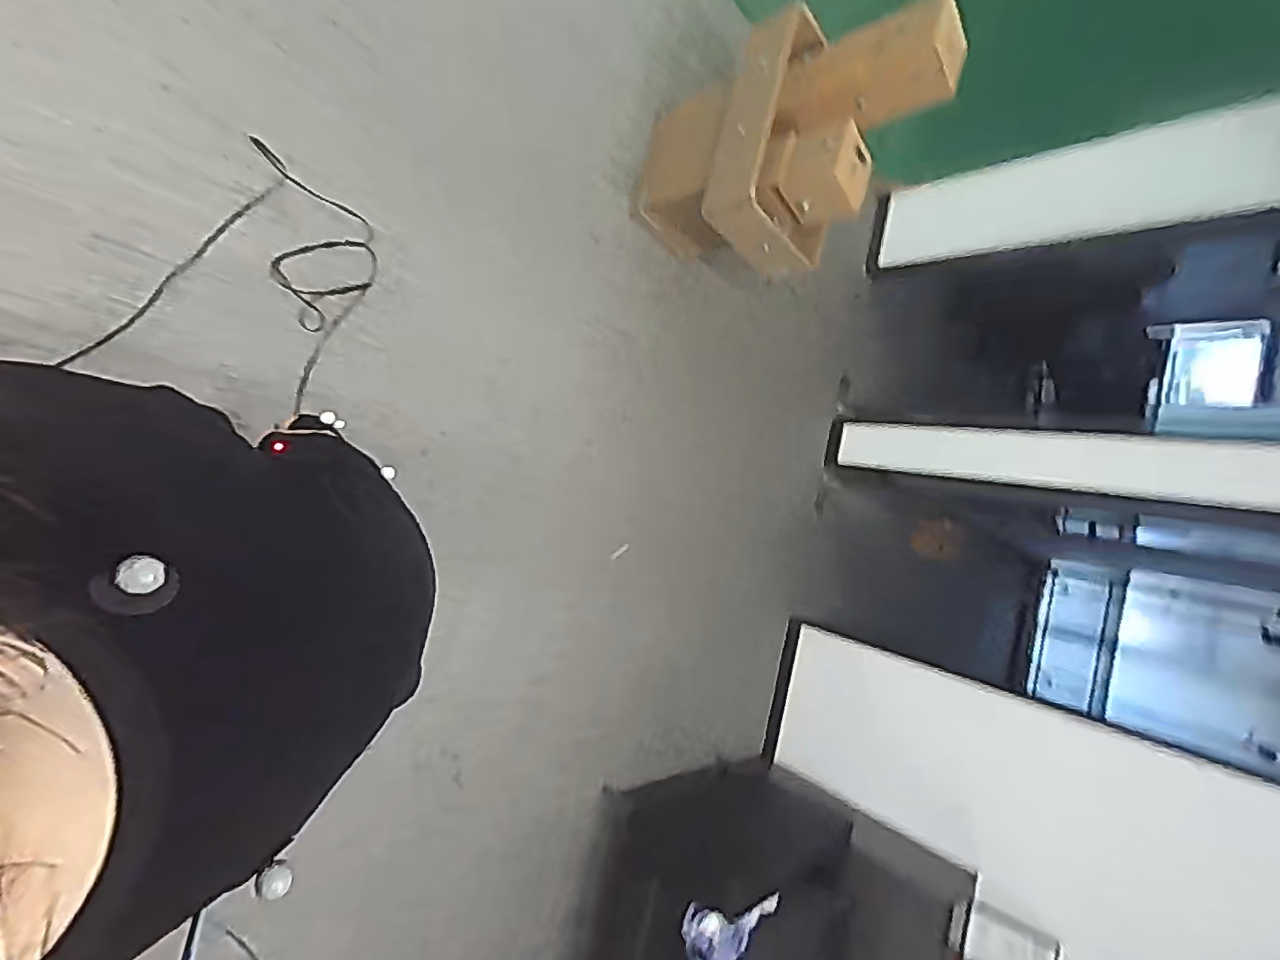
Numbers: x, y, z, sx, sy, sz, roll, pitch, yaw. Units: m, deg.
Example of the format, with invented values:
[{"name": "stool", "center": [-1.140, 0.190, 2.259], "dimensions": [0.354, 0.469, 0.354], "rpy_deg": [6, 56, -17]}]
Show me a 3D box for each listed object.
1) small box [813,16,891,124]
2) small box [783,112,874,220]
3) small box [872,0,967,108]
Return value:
[{"name": "small box", "center": [0.626, -1.156, 1.555], "dimensions": [0.179, 0.176, 0.168], "rpy_deg": [25, 80, -43]}, {"name": "small box", "center": [0.521, -0.863, 1.504], "dimensions": [0.168, 0.176, 0.179], "rpy_deg": [26, 79, -43]}, {"name": "small box", "center": [0.739, -1.140, 1.436], "dimensions": [0.179, 0.176, 0.168], "rpy_deg": [26, 80, -44]}]
